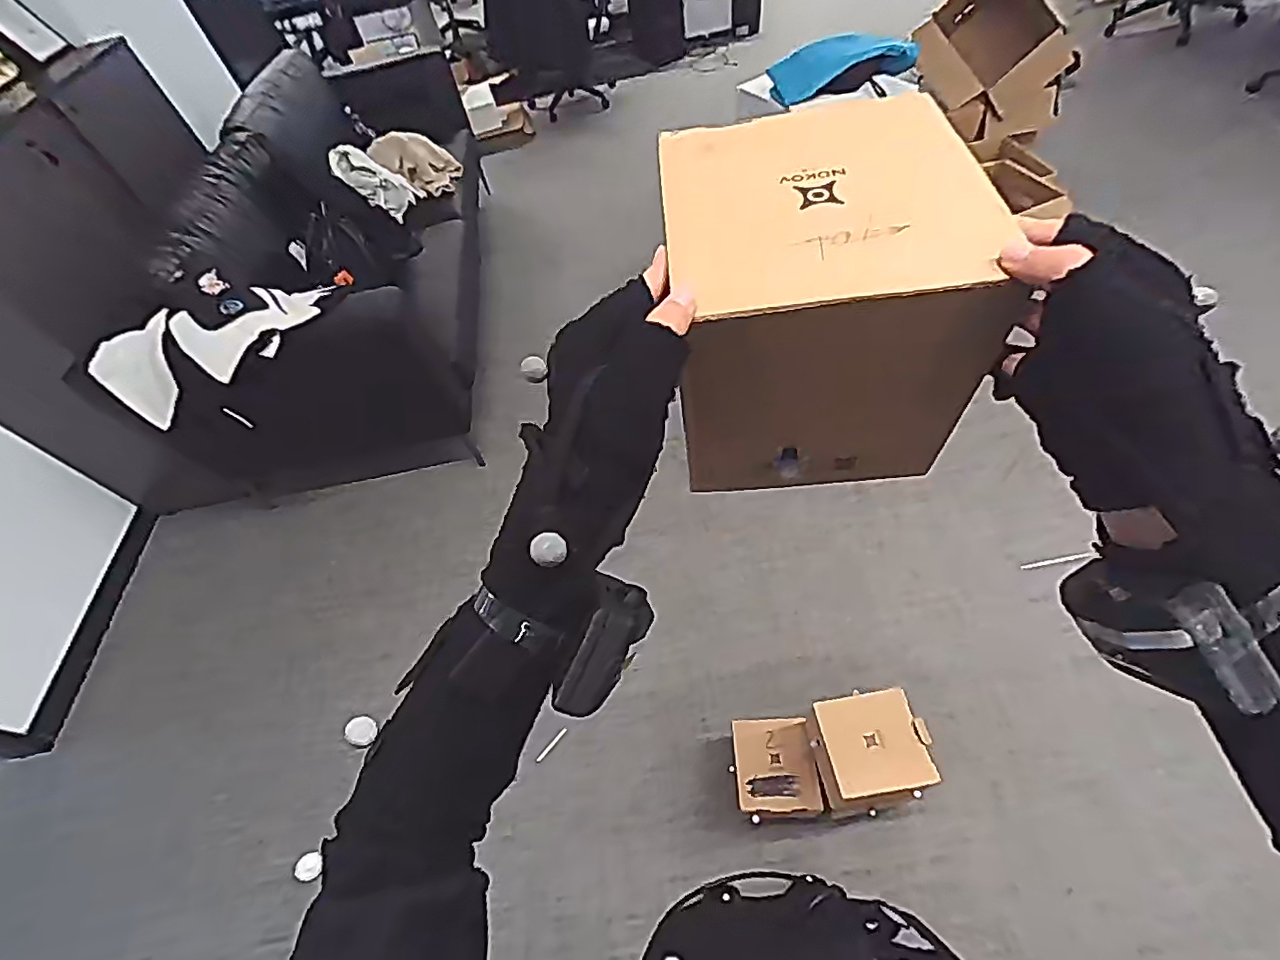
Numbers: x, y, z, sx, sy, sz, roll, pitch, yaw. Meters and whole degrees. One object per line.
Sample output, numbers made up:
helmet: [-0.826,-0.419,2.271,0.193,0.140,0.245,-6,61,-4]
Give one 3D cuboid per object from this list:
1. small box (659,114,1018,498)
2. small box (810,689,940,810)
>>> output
small box: [0.103,-0.107,0.367,0.168,0.176,0.179,-5,58,6]
small box: [0.440,0.527,1.051,0.179,0.176,0.168,-12,53,2]
